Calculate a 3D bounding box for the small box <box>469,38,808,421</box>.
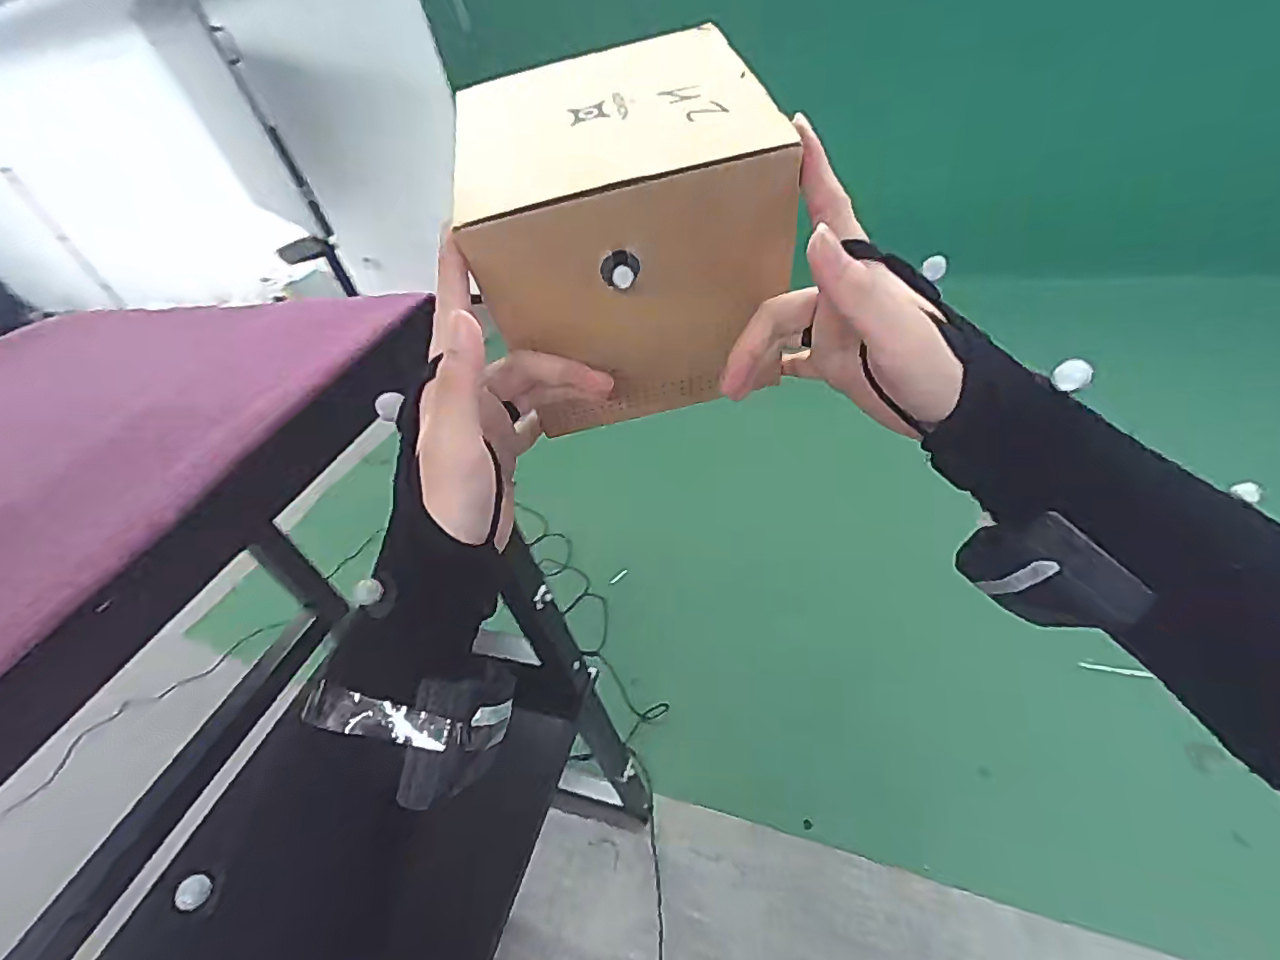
[{"bbox_3d":[0.000,-0.162,0.376,0.179,0.176,0.168,-12,55,1],"label":"small box"}]
